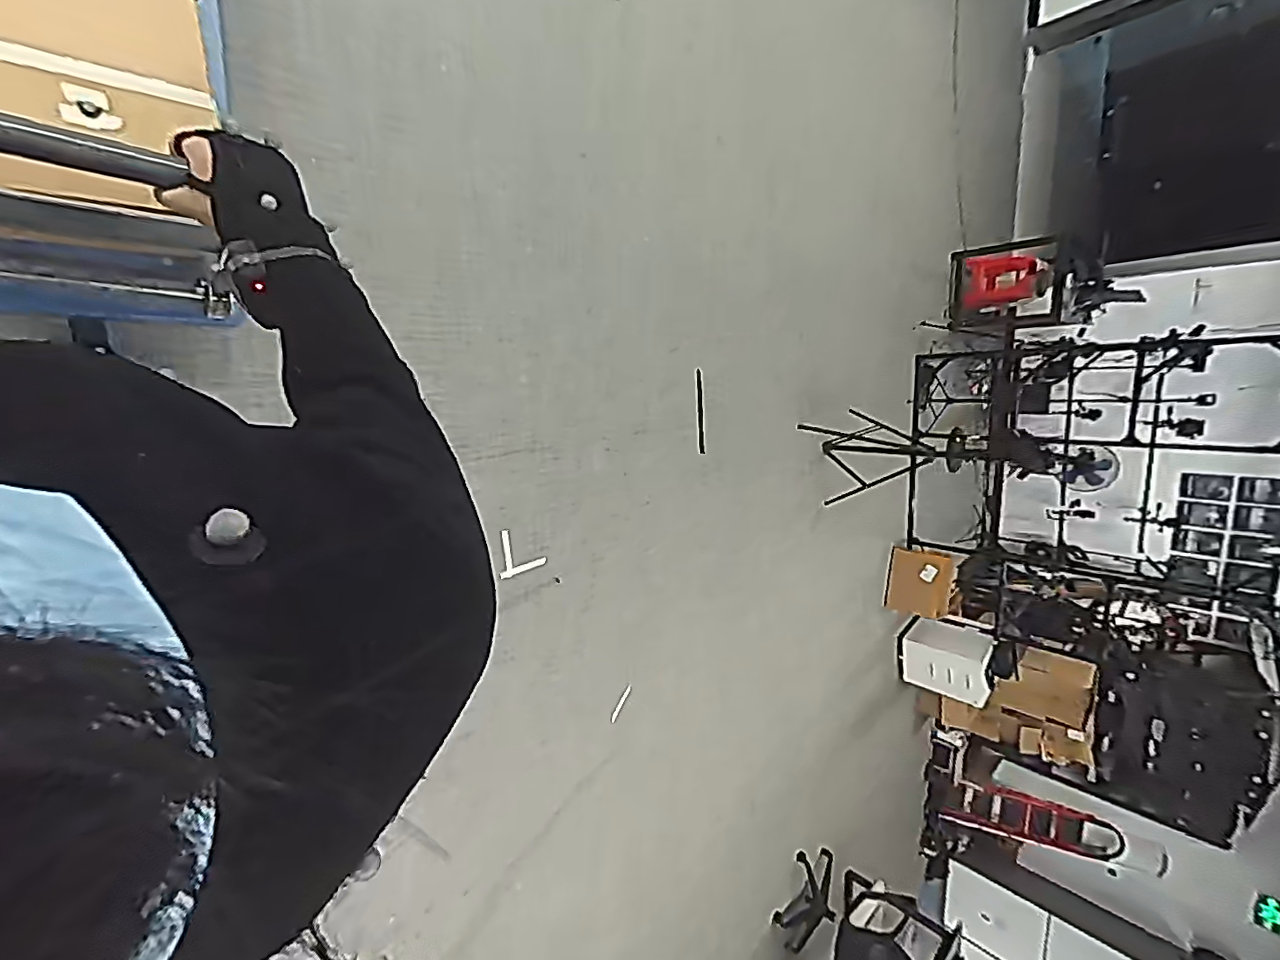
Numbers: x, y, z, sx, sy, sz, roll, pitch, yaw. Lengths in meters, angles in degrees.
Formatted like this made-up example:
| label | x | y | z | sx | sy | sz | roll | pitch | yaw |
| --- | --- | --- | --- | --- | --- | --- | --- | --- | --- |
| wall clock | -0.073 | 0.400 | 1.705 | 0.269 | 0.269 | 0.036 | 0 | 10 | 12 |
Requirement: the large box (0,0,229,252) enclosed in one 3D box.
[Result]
| label | x | y | z | sx | sy | sz | roll | pitch | yaw |
| --- | --- | --- | --- | --- | --- | --- | --- | --- | --- |
| large box | -0.873 | -0.528 | 0.753 | 0.408 | 0.320 | 0.320 | -13 | 106 | -44 |
